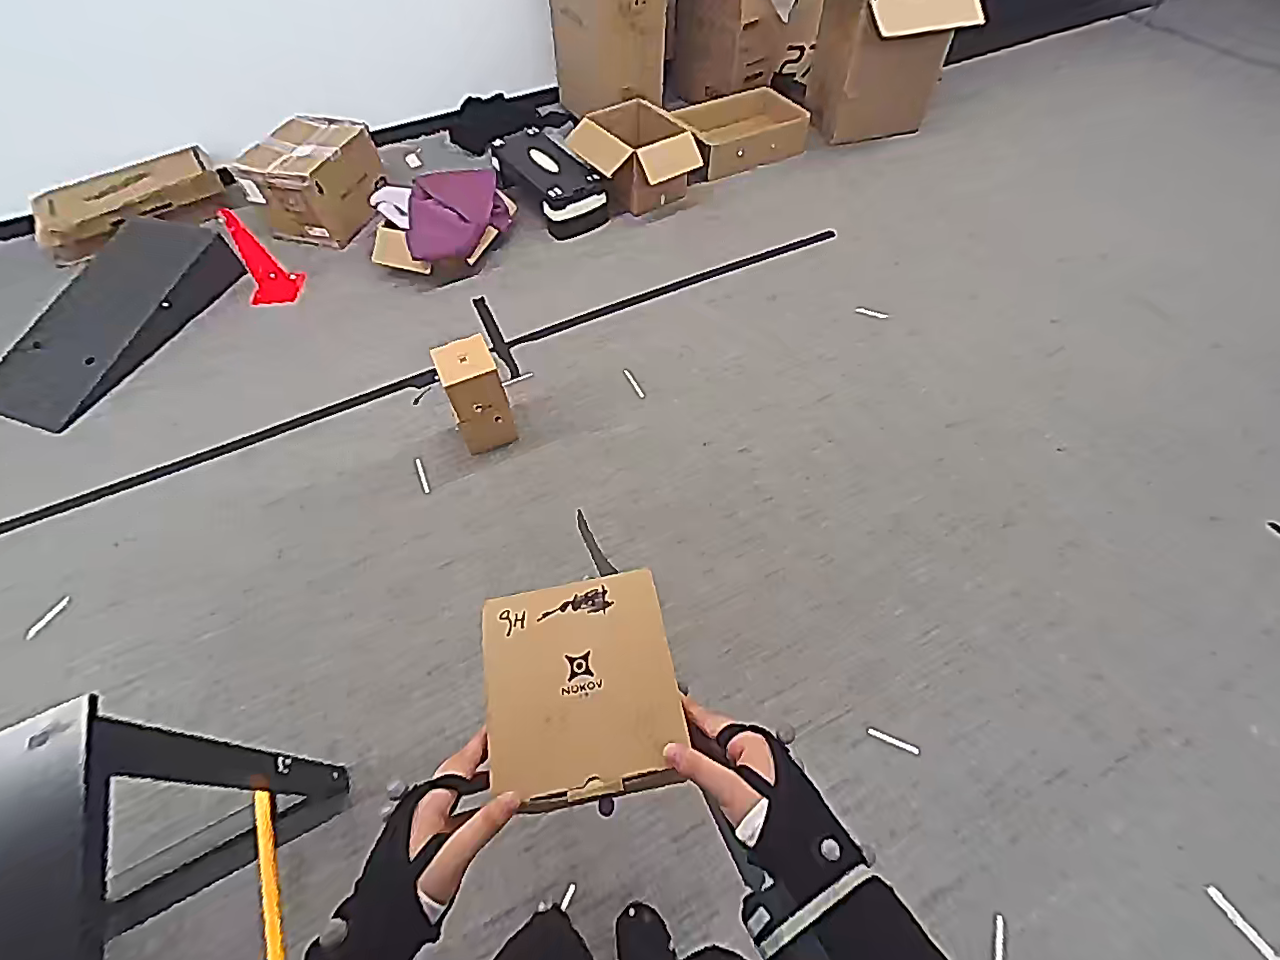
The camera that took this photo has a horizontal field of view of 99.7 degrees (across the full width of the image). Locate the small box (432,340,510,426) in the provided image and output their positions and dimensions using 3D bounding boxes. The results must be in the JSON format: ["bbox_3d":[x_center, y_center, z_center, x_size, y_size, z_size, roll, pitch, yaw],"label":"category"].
[{"bbox_3d":[-0.525,-0.301,1.694,0.168,0.176,0.179,-24,60,-12],"label":"small box"}]

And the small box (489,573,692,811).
[{"bbox_3d":[-0.046,0.217,0.548,0.168,0.176,0.179,-11,59,-4],"label":"small box"}]

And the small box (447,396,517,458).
[{"bbox_3d":[-0.526,-0.205,1.825,0.179,0.176,0.168,-22,58,-12],"label":"small box"}]
